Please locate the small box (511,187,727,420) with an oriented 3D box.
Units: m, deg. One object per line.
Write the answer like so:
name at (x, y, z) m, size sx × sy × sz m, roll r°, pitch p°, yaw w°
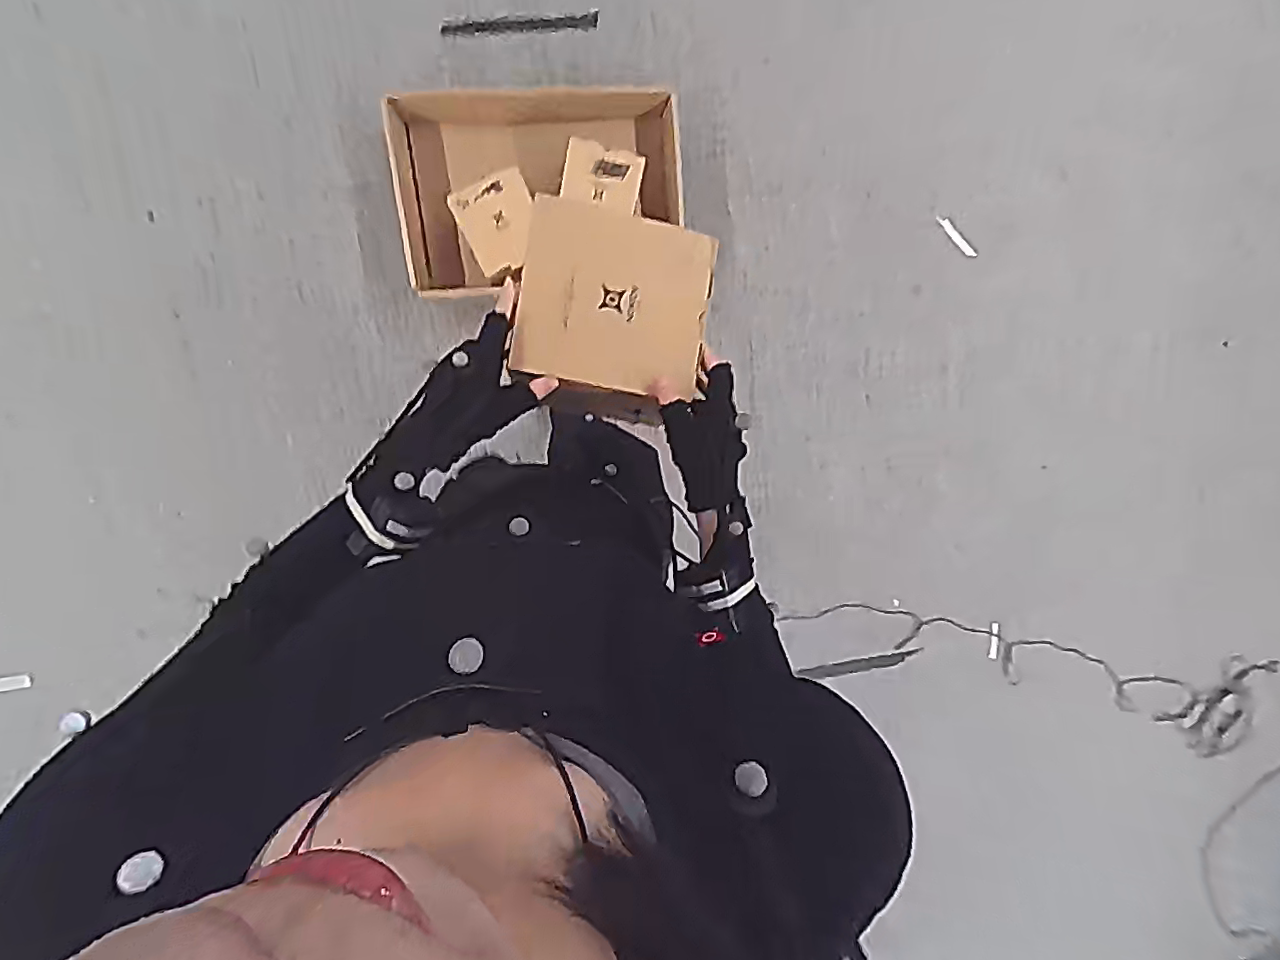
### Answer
small box at (-0.028, -0.163, 0.563) m, size 0.179 × 0.176 × 0.168 m, roll 9°, pitch 86°, yaw -8°
